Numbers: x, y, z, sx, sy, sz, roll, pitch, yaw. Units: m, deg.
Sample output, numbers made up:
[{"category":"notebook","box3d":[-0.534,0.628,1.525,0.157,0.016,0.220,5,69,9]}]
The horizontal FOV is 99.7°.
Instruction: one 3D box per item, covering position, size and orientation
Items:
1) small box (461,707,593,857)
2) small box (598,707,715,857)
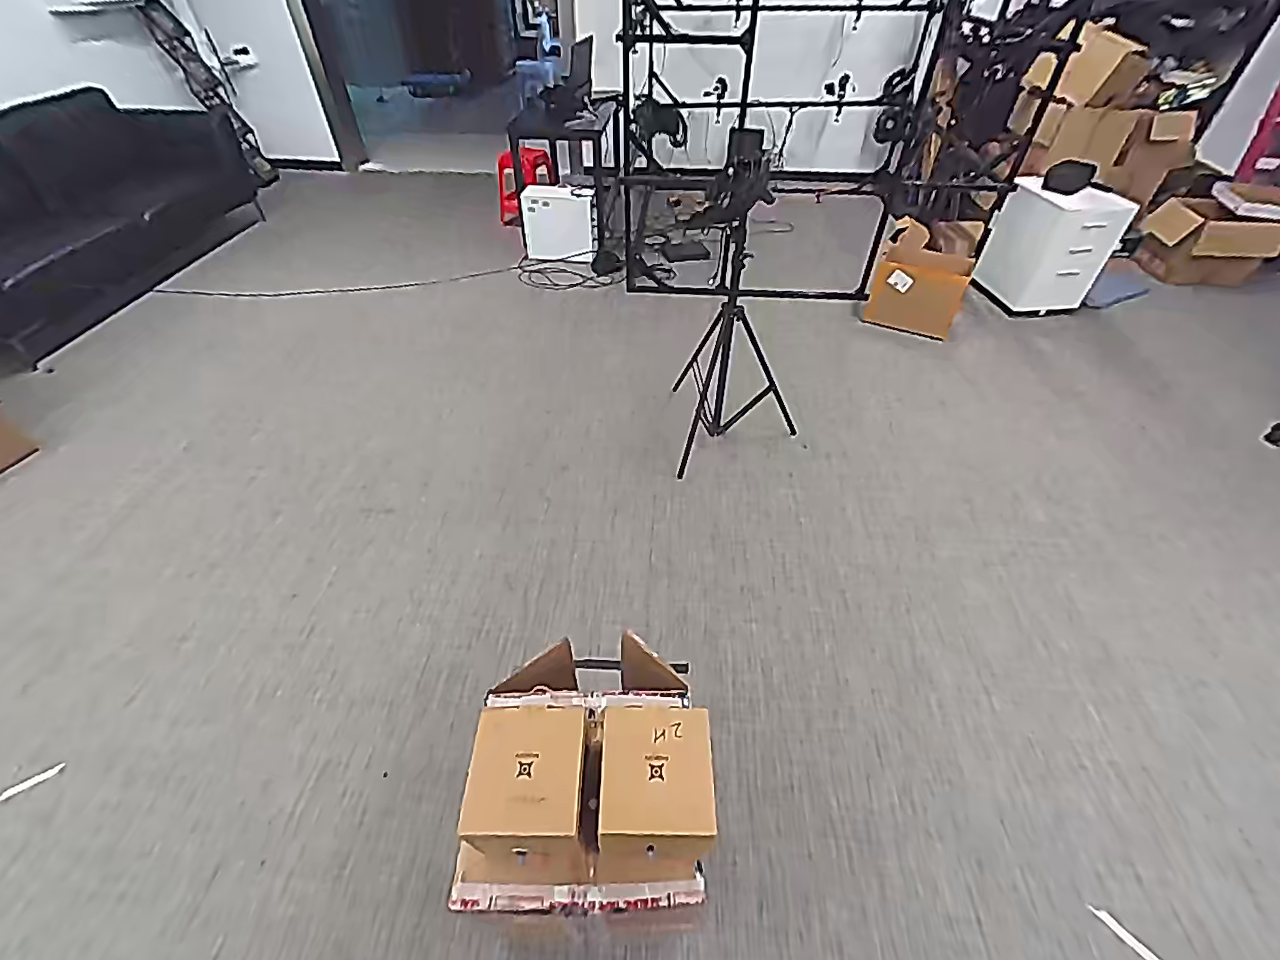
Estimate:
[{"category":"small box","box3d":[-0.165,0.478,0.856,0.168,0.176,0.179,-1,48,0]},{"category":"small box","box3d":[0.023,0.480,0.855,0.168,0.176,0.179,1,46,-1]}]
